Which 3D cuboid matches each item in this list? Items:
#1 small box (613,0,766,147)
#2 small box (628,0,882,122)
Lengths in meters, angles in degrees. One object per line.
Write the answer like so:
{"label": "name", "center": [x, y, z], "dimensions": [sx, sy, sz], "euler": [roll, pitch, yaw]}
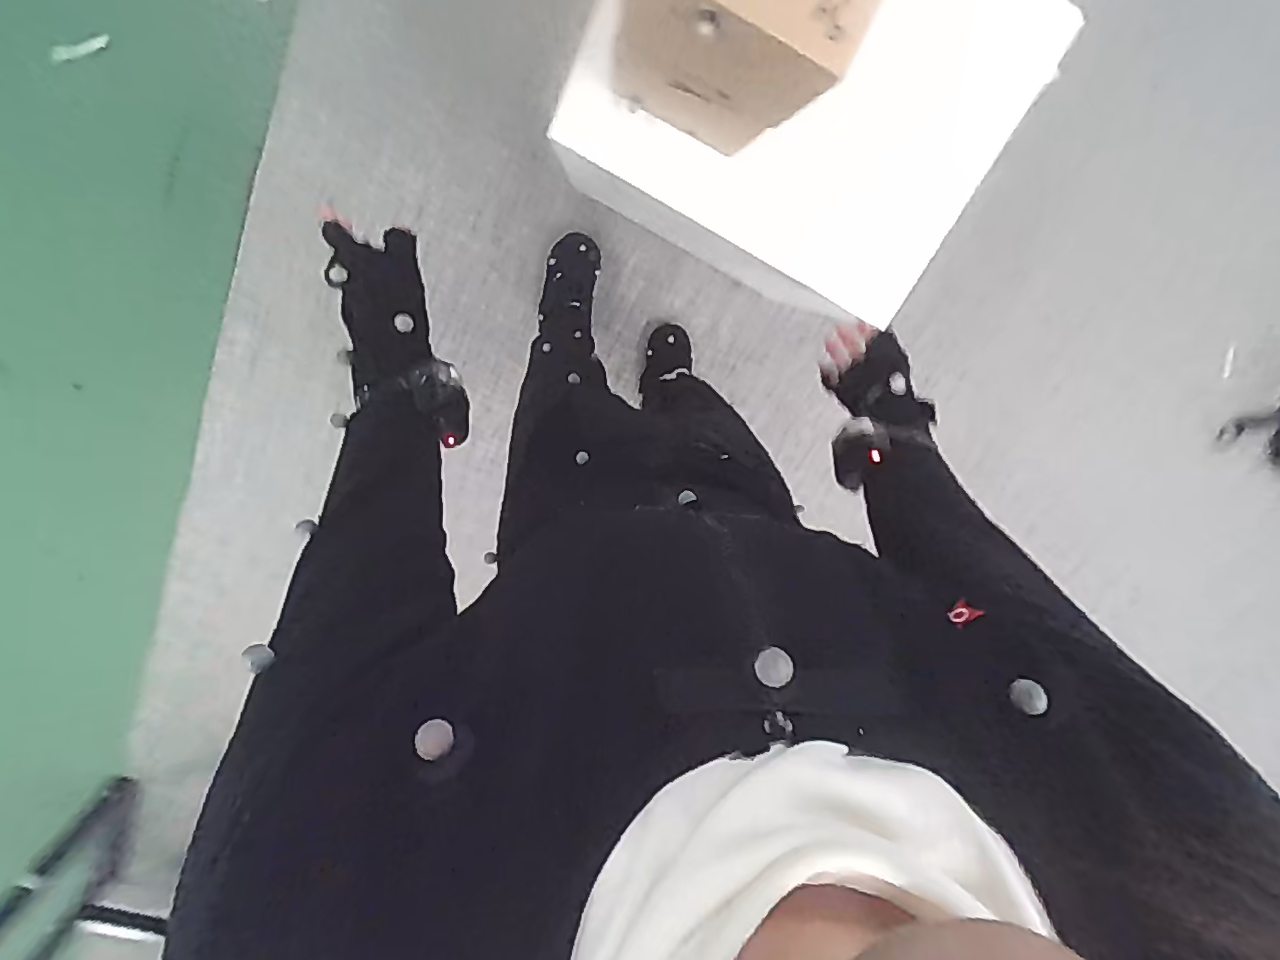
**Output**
{"label": "small box", "center": [0.082, -0.471, 0.544], "dimensions": [0.168, 0.176, 0.179], "euler": [22, 109, -12]}
{"label": "small box", "center": [0.095, -0.407, 0.395], "dimensions": [0.168, 0.176, 0.179], "euler": [22, 109, -12]}
